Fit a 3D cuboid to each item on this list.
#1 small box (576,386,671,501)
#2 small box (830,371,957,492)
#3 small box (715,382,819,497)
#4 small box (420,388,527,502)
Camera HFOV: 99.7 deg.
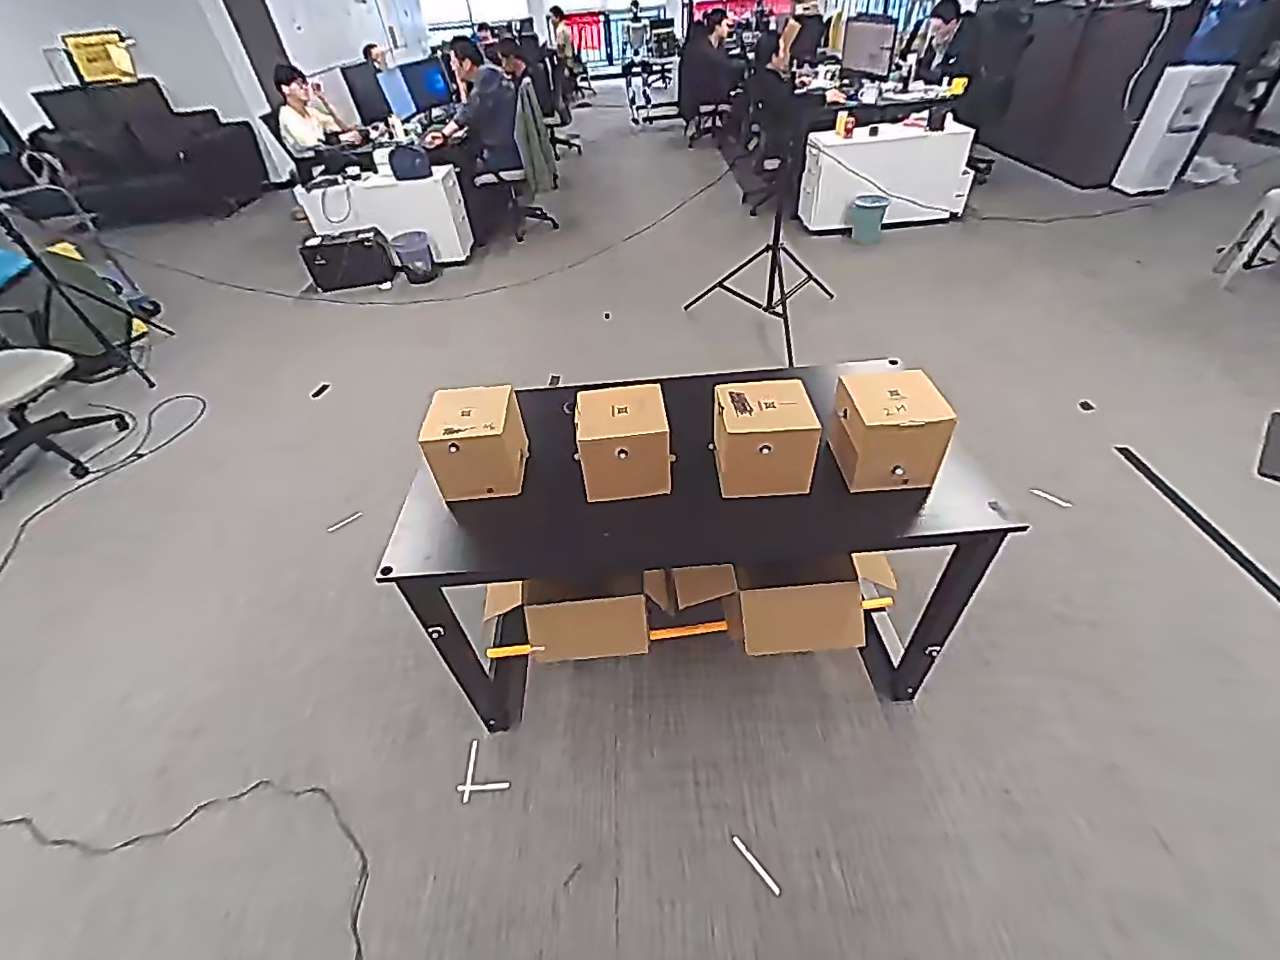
[{"bbox_3d":[-0.033,-0.072,1.118,0.179,0.176,0.168,-6,43,-1],"label":"small box"},{"bbox_3d":[0.491,-0.096,1.081,0.168,0.176,0.179,-5,42,4],"label":"small box"},{"bbox_3d":[0.246,-0.079,1.090,0.179,0.176,0.168,-3,42,3],"label":"small box"},{"bbox_3d":[-0.342,-0.075,1.151,0.168,0.176,0.179,-5,42,0],"label":"small box"}]
